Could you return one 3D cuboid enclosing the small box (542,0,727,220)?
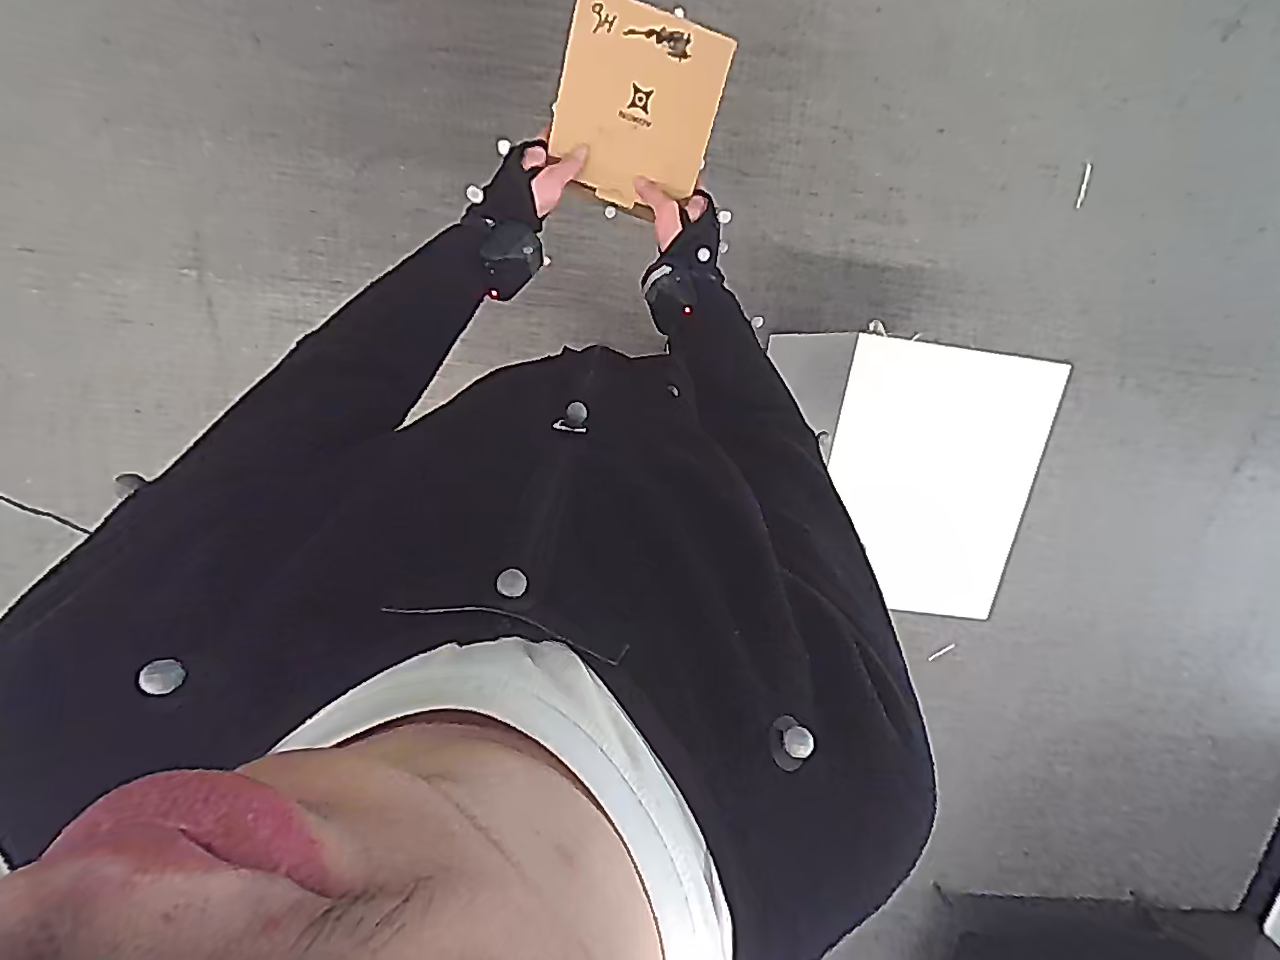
[{"bbox_3d":[-0.013,-0.426,0.649,0.168,0.176,0.179,12,111,-10],"label":"small box"}]
